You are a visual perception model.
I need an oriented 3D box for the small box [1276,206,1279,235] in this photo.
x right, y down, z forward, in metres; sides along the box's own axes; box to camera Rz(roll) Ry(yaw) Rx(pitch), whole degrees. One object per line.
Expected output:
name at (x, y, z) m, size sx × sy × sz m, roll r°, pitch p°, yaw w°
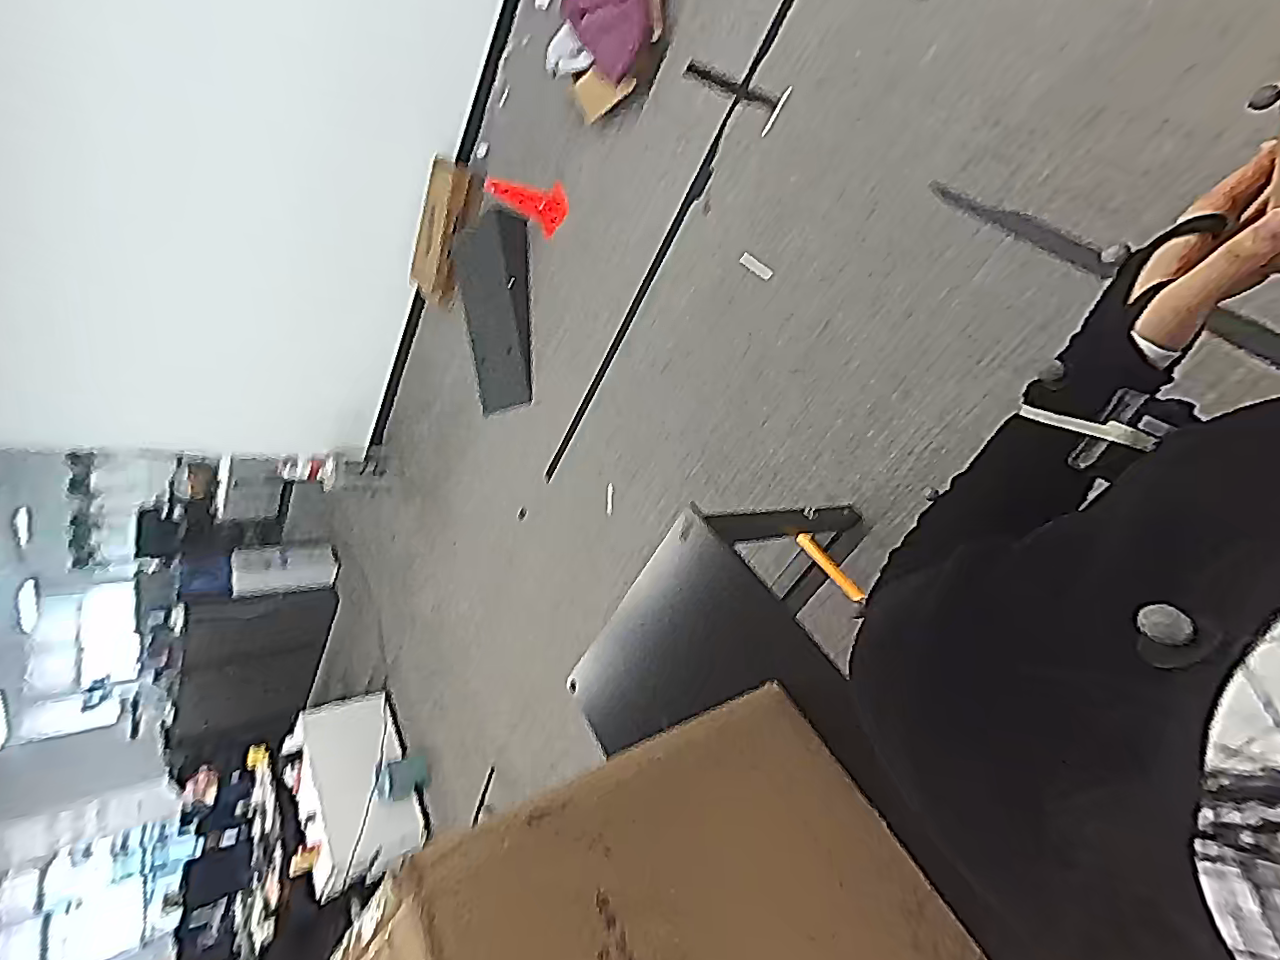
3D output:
small box at (0.452, -0.217, 0.262) m, size 0.168 × 0.176 × 0.179 m, roll 12°, pitch 112°, yaw 49°
